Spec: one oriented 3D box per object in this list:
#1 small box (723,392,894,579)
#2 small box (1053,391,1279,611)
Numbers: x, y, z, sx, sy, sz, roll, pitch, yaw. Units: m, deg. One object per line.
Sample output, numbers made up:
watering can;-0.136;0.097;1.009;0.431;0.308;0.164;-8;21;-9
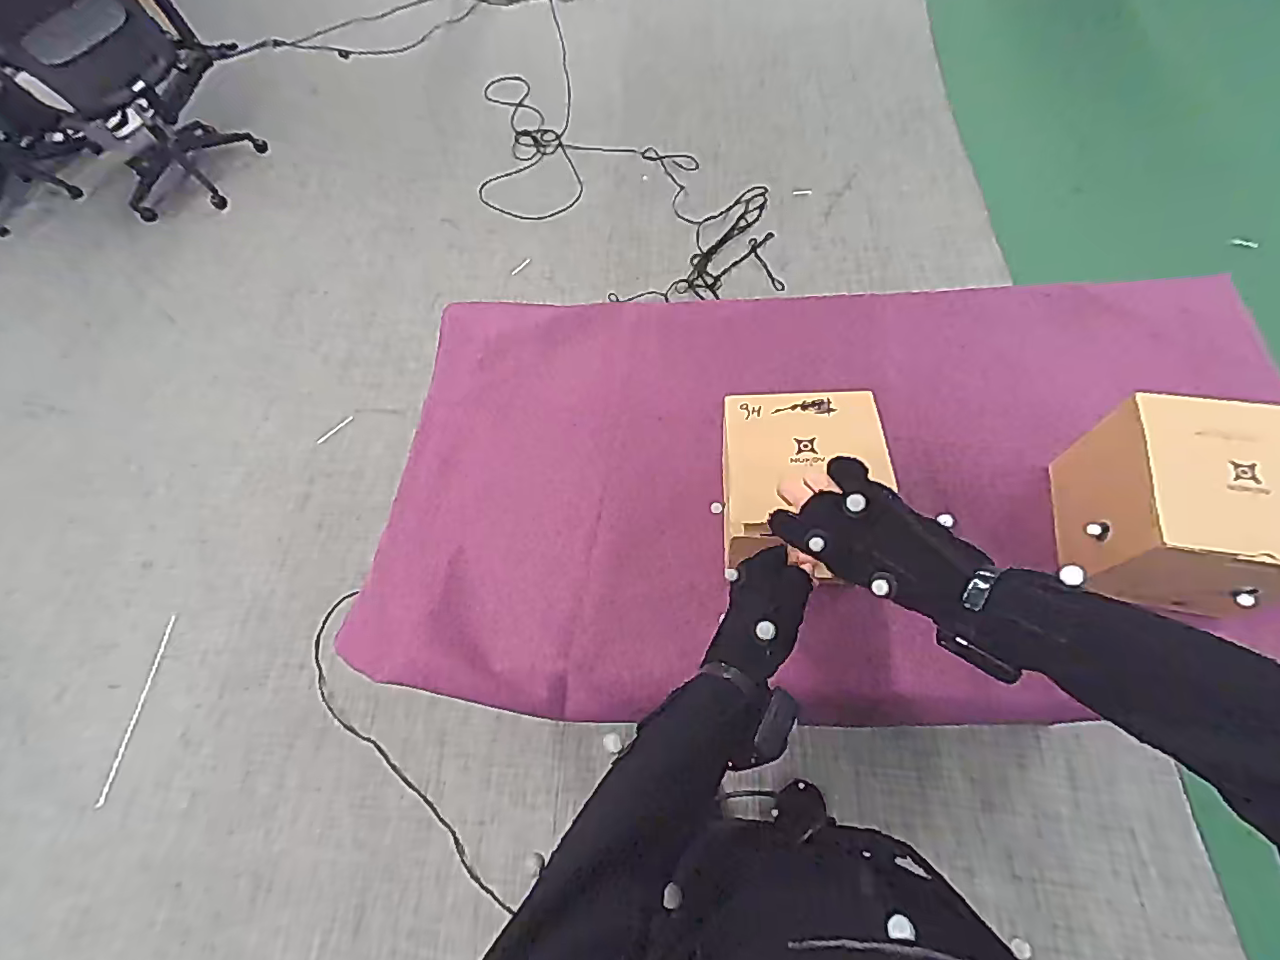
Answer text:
small box;0.186;0.015;0.648;0.168;0.176;0.179;-1;63;8
small box;0.586;0.030;0.585;0.168;0.176;0.179;9;65;12
